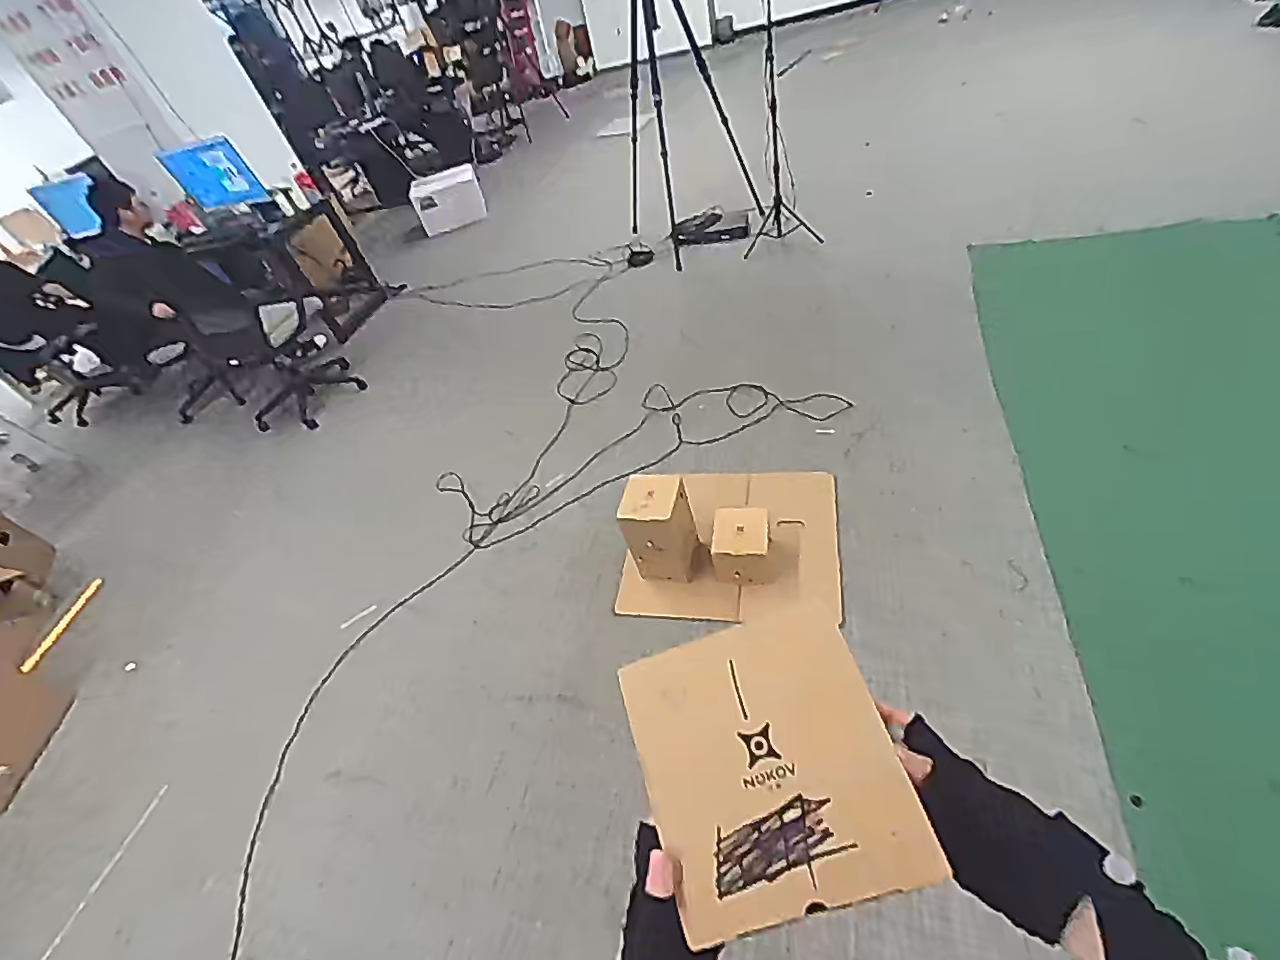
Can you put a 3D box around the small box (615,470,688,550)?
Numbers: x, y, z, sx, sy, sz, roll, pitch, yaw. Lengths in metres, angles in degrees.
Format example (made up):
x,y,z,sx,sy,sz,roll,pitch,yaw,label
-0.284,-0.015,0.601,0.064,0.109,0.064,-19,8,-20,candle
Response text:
x,y,z,sx,sy,sz,roll,pitch,yaw,label
0.043,0.090,1.650,0.168,0.176,0.179,1,49,20,small box

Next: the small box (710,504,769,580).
x,y,z,sx,sy,sz,roll,pitch,yaw,label
0.317,0.194,1.700,0.168,0.176,0.179,-1,48,16,small box

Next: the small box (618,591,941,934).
x,y,z,sx,sy,sz,roll,pitch,yaw,label
0.103,0.209,0.433,0.168,0.176,0.179,-22,64,7,small box
